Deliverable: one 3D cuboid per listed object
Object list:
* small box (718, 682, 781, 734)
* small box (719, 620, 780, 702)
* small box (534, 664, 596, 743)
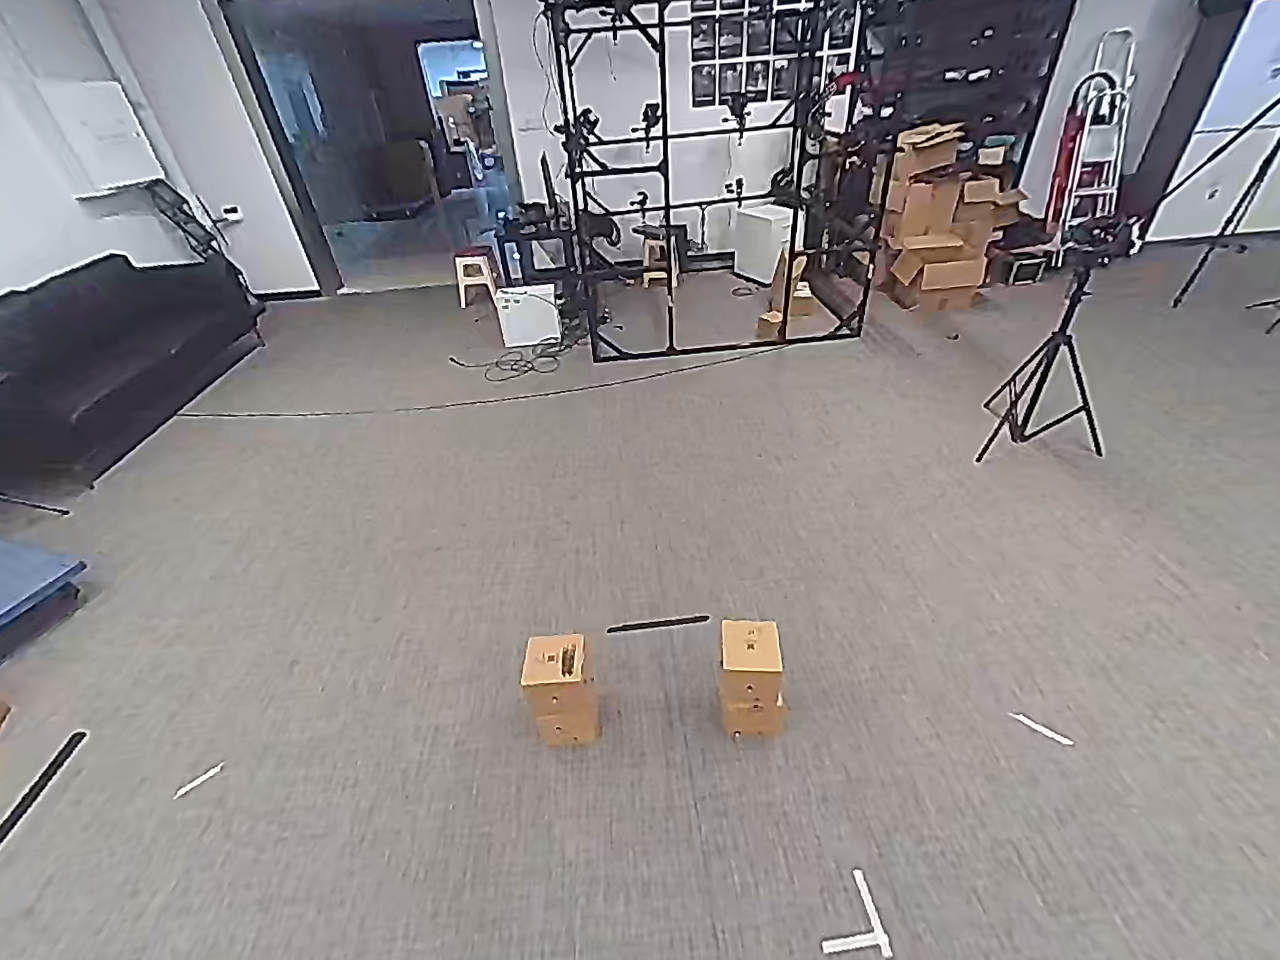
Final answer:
[{"bbox_3d":[0.340,0.681,1.705,0.168,0.176,0.179,-3,36,1],"label":"small box"},{"bbox_3d":[0.323,0.543,1.617,0.168,0.176,0.179,1,37,6],"label":"small box"},{"bbox_3d":[-0.232,0.718,1.724,0.168,0.176,0.179,-5,36,0],"label":"small box"}]
